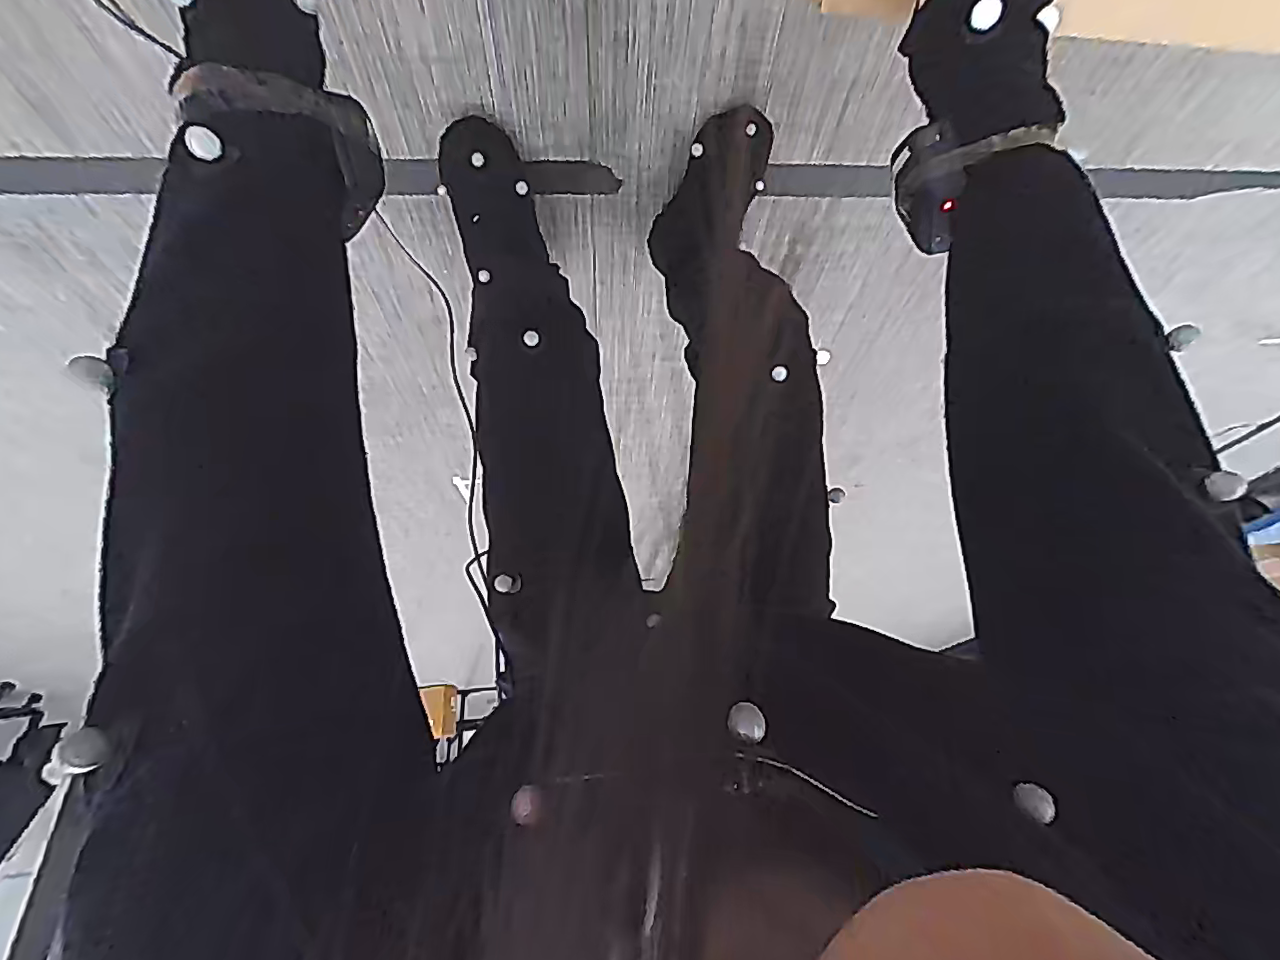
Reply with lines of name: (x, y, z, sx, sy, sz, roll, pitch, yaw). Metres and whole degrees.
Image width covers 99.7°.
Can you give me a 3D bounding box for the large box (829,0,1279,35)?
large box: (0.320, -0.548, 0.344, 0.408, 0.320, 0.320, -3, 153, -8)
